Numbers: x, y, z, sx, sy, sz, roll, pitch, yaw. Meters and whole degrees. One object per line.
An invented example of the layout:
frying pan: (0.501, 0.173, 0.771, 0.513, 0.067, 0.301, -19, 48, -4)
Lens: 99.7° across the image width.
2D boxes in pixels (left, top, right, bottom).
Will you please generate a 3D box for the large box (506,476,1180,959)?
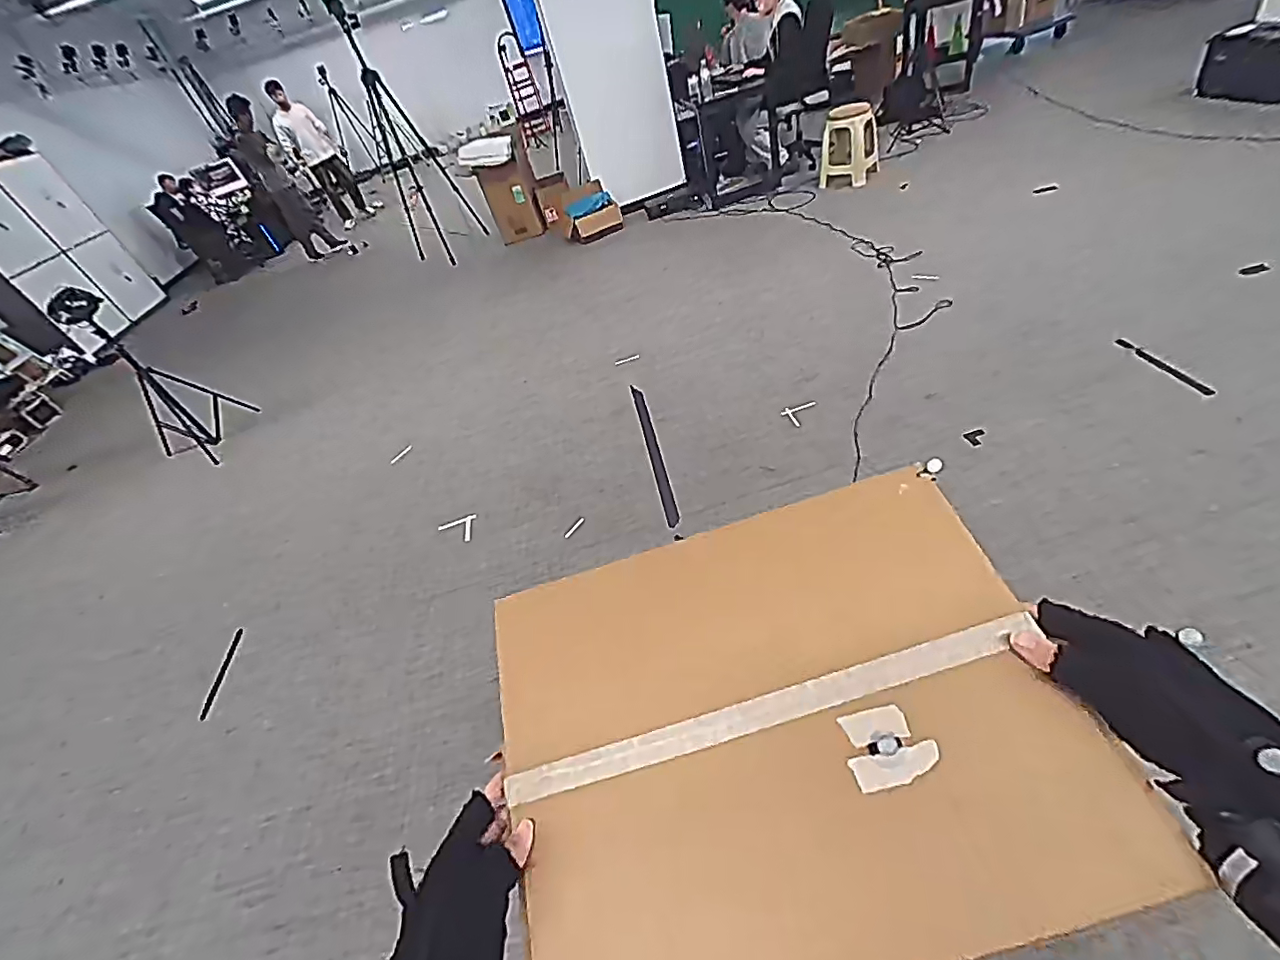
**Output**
large box: (0.129, 0.260, 0.530, 0.408, 0.320, 0.320, -19, 55, 1)
